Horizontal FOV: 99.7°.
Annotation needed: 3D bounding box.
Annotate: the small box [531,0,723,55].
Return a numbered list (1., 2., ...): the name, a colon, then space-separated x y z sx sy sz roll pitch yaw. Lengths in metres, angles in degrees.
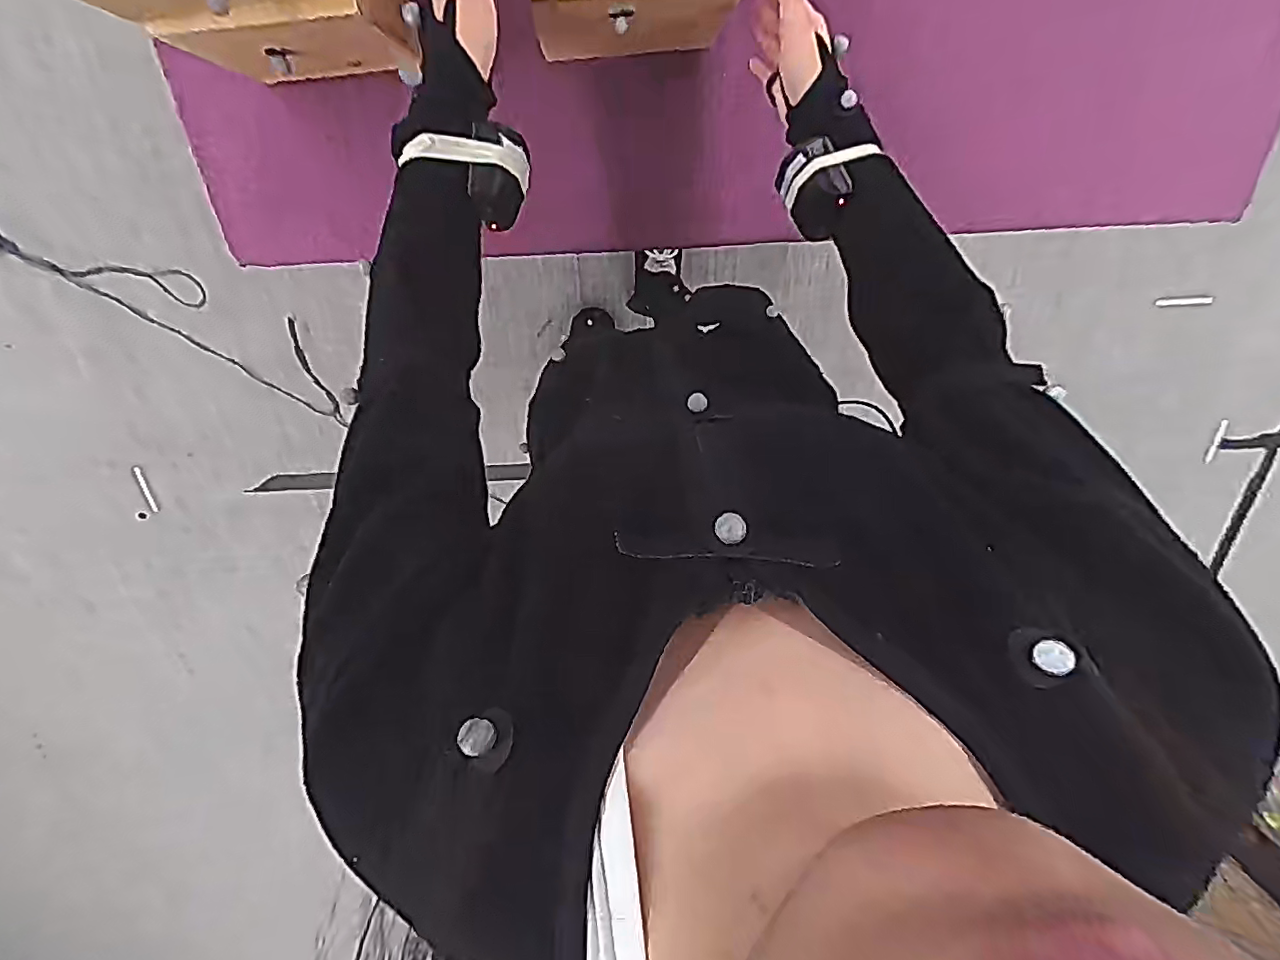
1. small box: -0.015 -0.484 0.455 0.179 0.176 0.168 -6 116 -1

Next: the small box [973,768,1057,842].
1. small box: 1.350 1.177 1.963 0.168 0.176 0.179 0 115 -4

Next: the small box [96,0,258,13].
1. small box: -0.306 -0.397 0.298 0.179 0.176 0.168 -9 115 0

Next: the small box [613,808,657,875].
1. small box: -0.022 1.470 2.209 0.168 0.176 0.179 -5 117 0

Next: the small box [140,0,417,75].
1. small box: -0.309 -0.462 0.449 0.168 0.176 0.179 -7 115 0
